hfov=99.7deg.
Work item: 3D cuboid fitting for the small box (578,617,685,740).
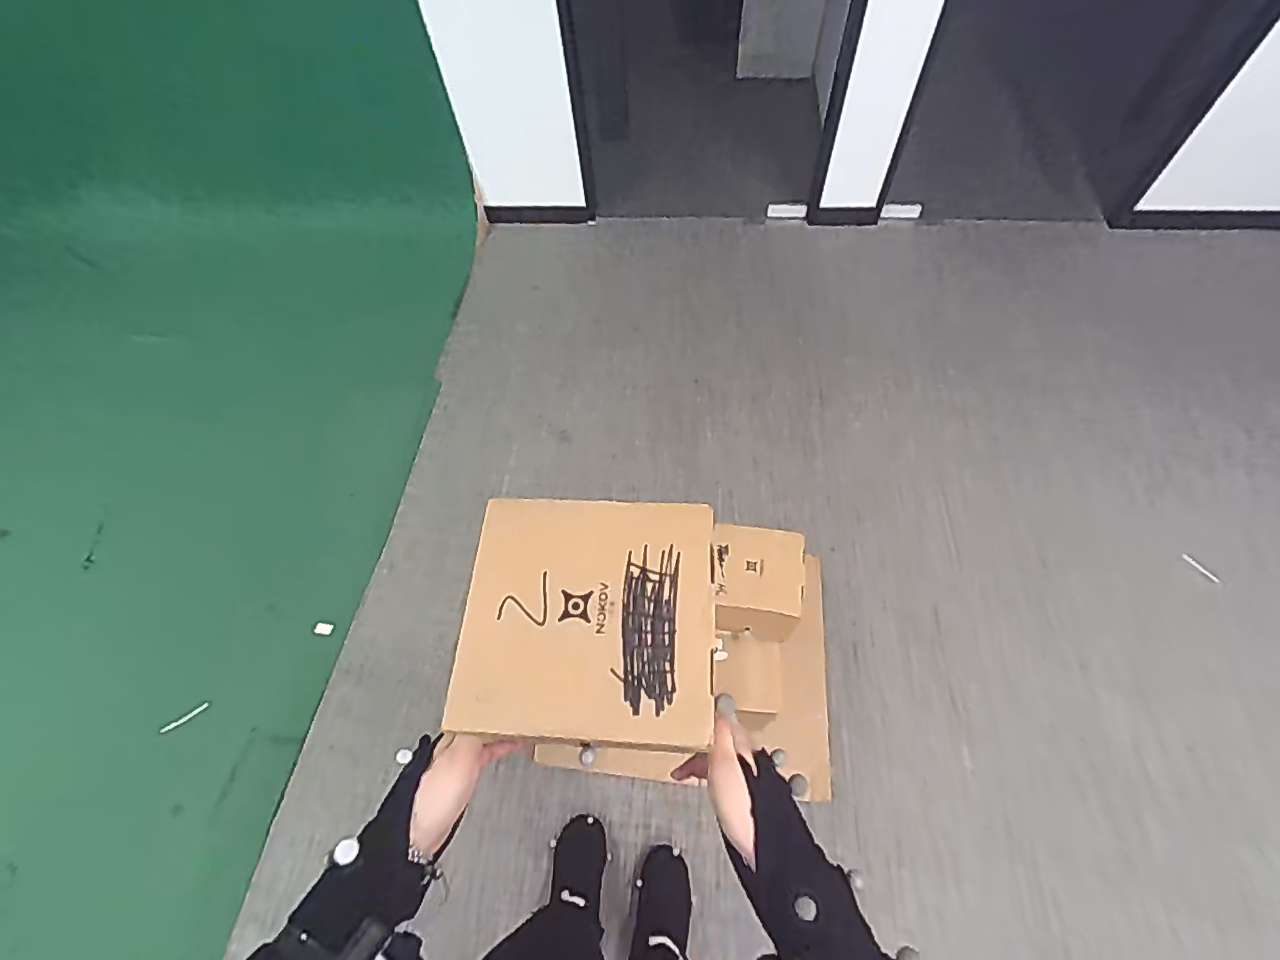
[{"bbox_3d":[-0.010,0.371,1.001,0.168,0.176,0.179,5,61,6],"label":"small box"}]

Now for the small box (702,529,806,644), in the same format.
[{"bbox_3d":[0.223,0.217,1.077,0.179,0.176,0.168,7,60,9],"label":"small box"}]
